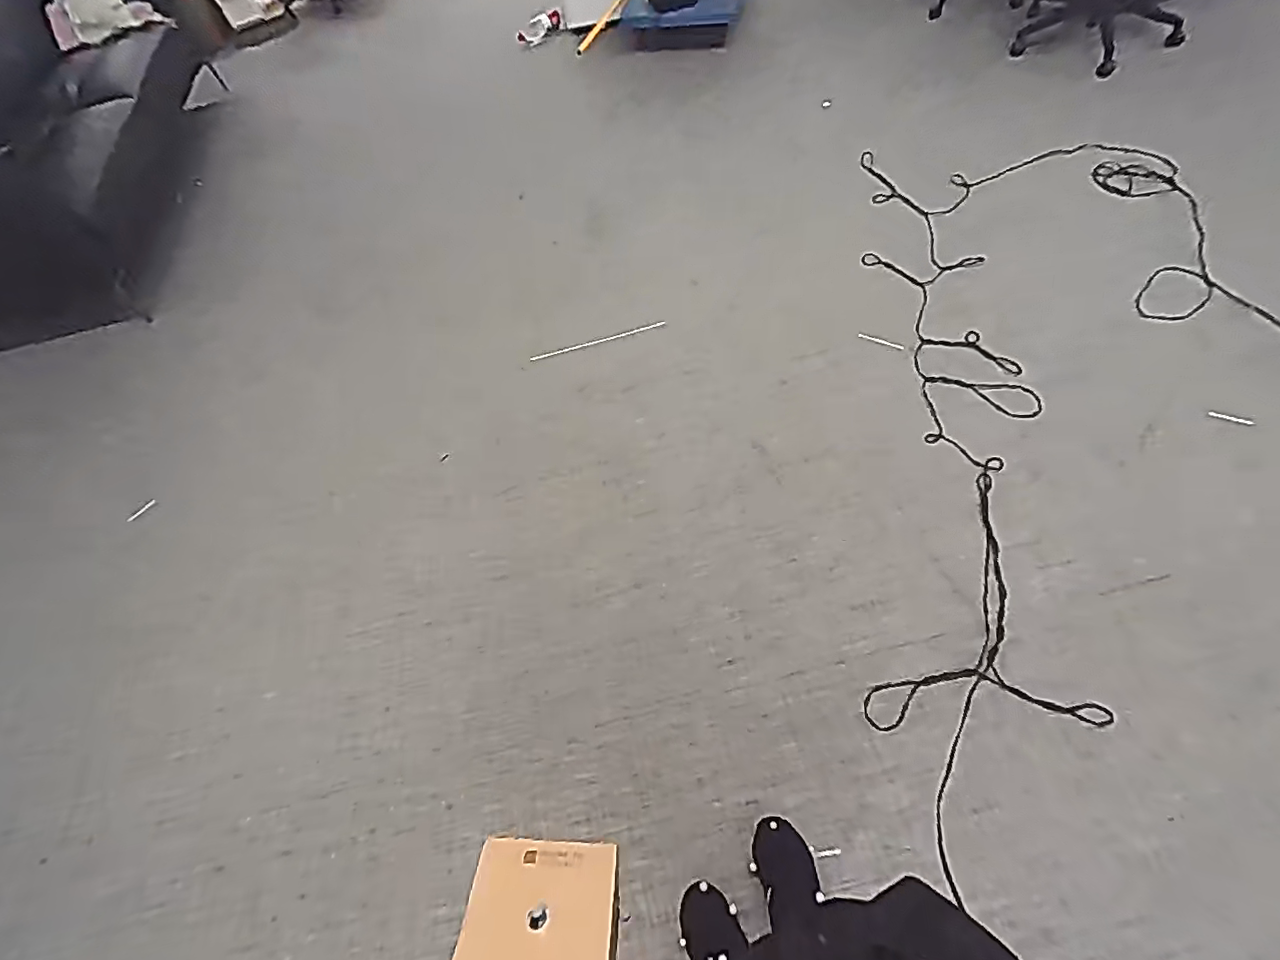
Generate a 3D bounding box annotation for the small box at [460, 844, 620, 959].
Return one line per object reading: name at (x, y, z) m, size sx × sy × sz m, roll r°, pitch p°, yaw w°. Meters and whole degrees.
small box at (-0.111, 0.557, 0.632) m, size 0.168 × 0.179 × 0.176 m, roll 0°, pitch 30°, yaw 1°
